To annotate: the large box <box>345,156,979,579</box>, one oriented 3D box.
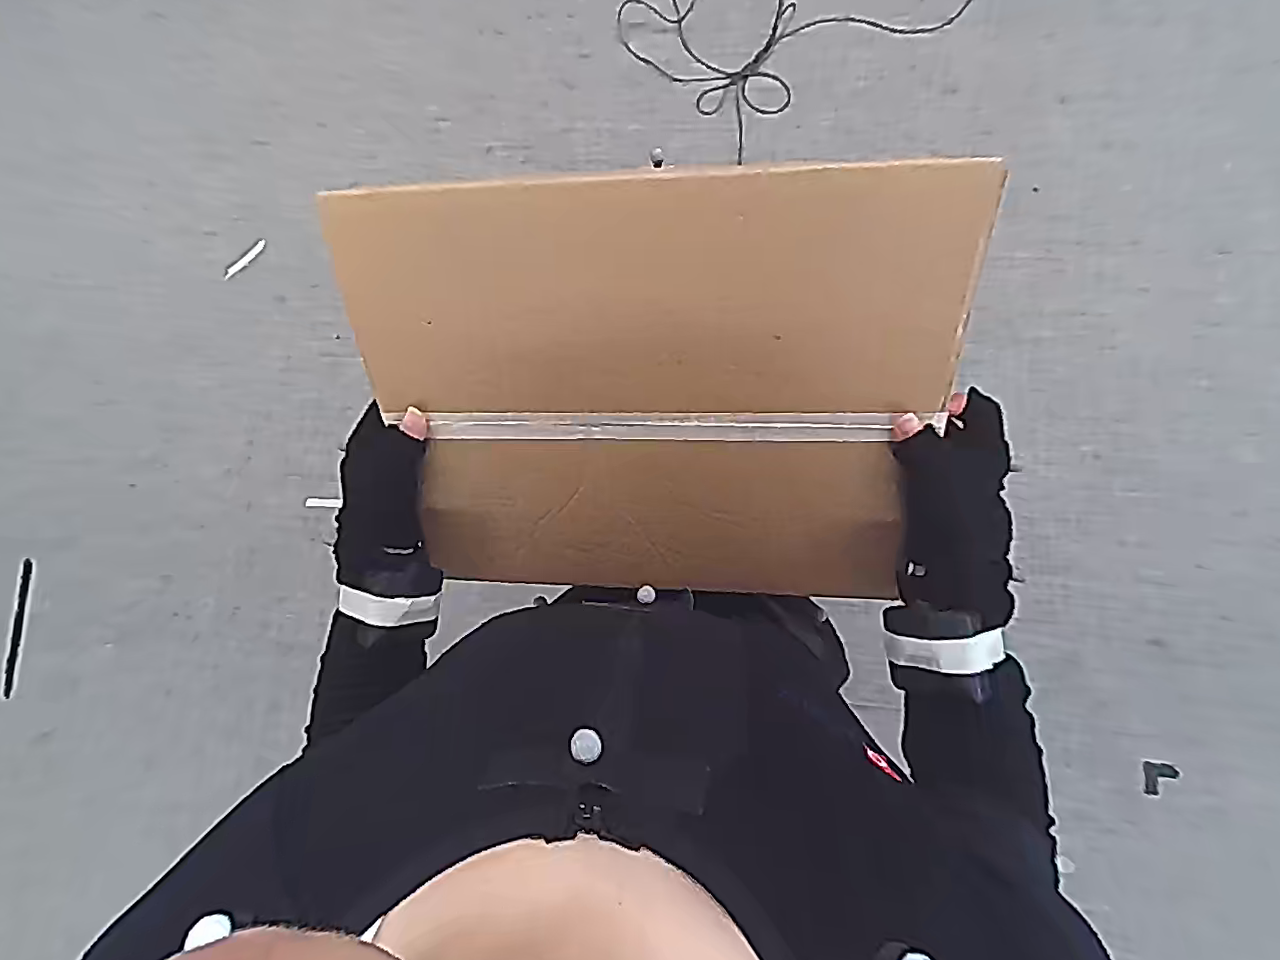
[{"bbox_3d":[0.026,-0.124,0.533,0.408,0.320,0.320,1,121,7],"label":"large box"}]
